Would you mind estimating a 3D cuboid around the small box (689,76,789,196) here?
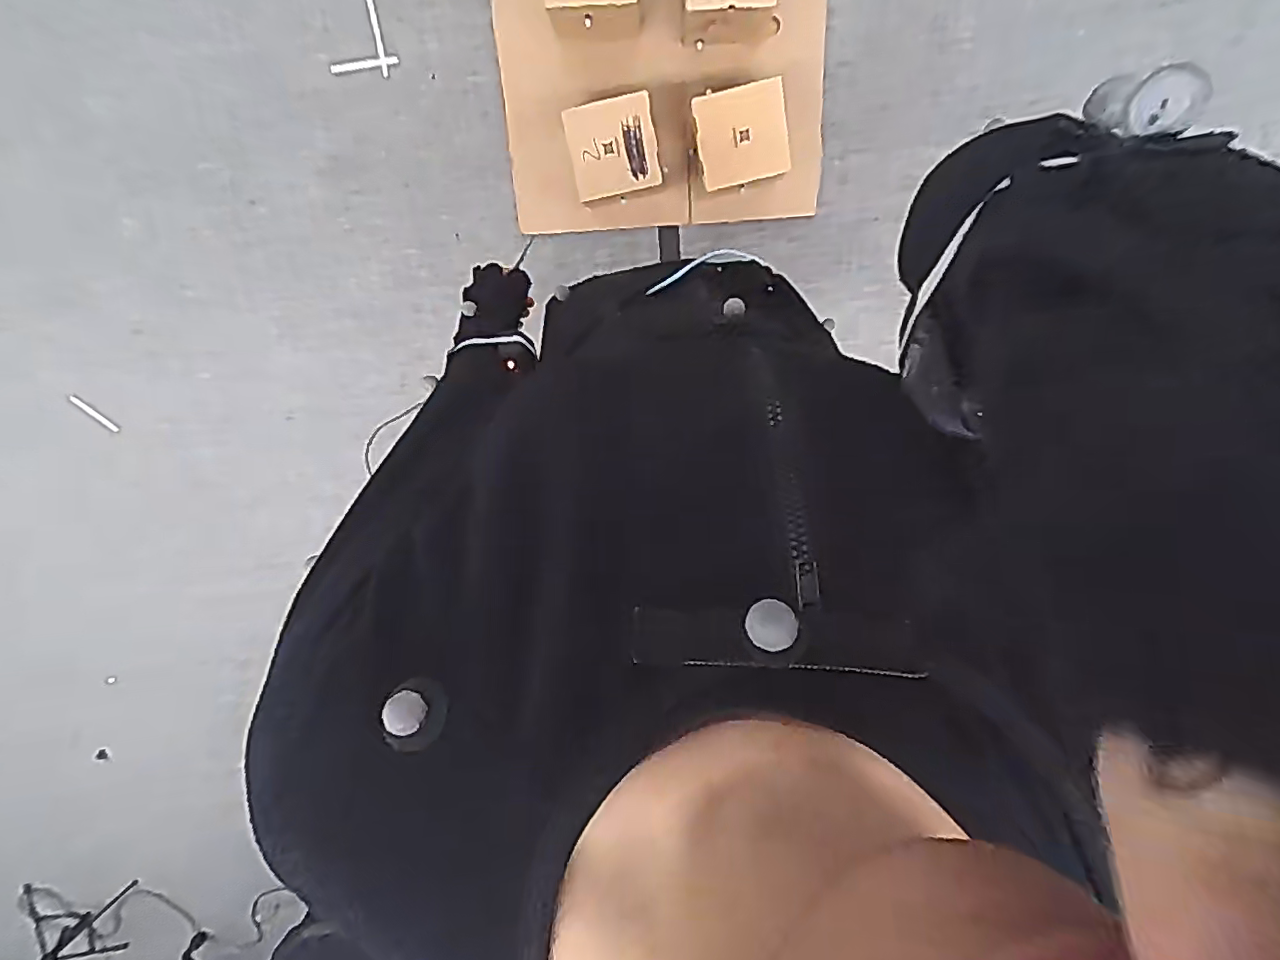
[{"bbox_3d":[0.204,-0.715,1.144,0.179,0.176,0.168,-10,111,7],"label":"small box"}]
